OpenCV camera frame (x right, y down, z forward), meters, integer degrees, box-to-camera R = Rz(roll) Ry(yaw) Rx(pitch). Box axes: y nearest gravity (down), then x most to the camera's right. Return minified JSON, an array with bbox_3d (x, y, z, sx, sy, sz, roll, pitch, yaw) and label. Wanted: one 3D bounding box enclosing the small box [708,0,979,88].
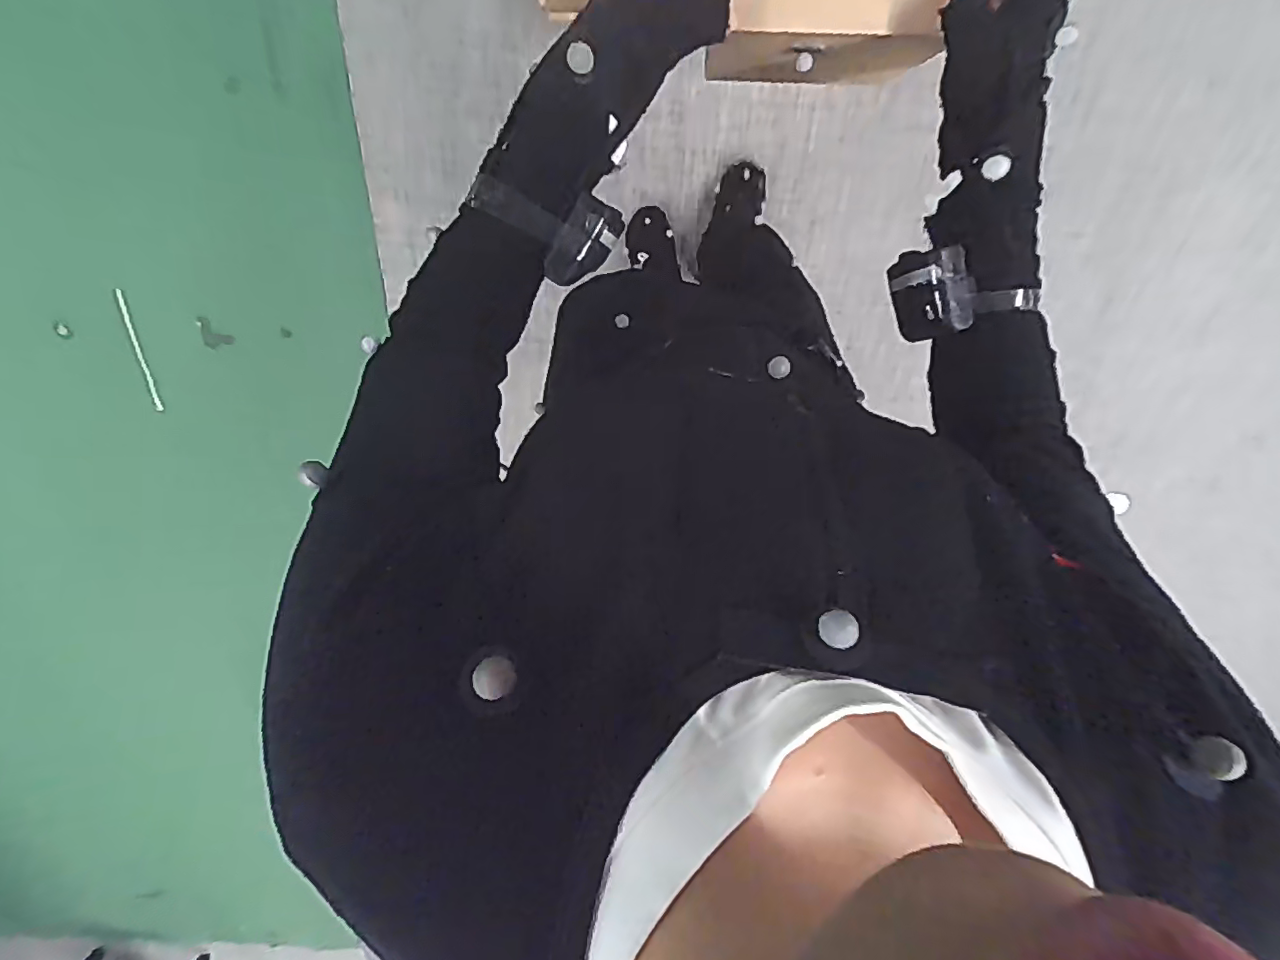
[{"bbox_3d":[0.145,-0.412,0.406,0.179,0.176,0.168,3,116,2],"label":"small box"}]
